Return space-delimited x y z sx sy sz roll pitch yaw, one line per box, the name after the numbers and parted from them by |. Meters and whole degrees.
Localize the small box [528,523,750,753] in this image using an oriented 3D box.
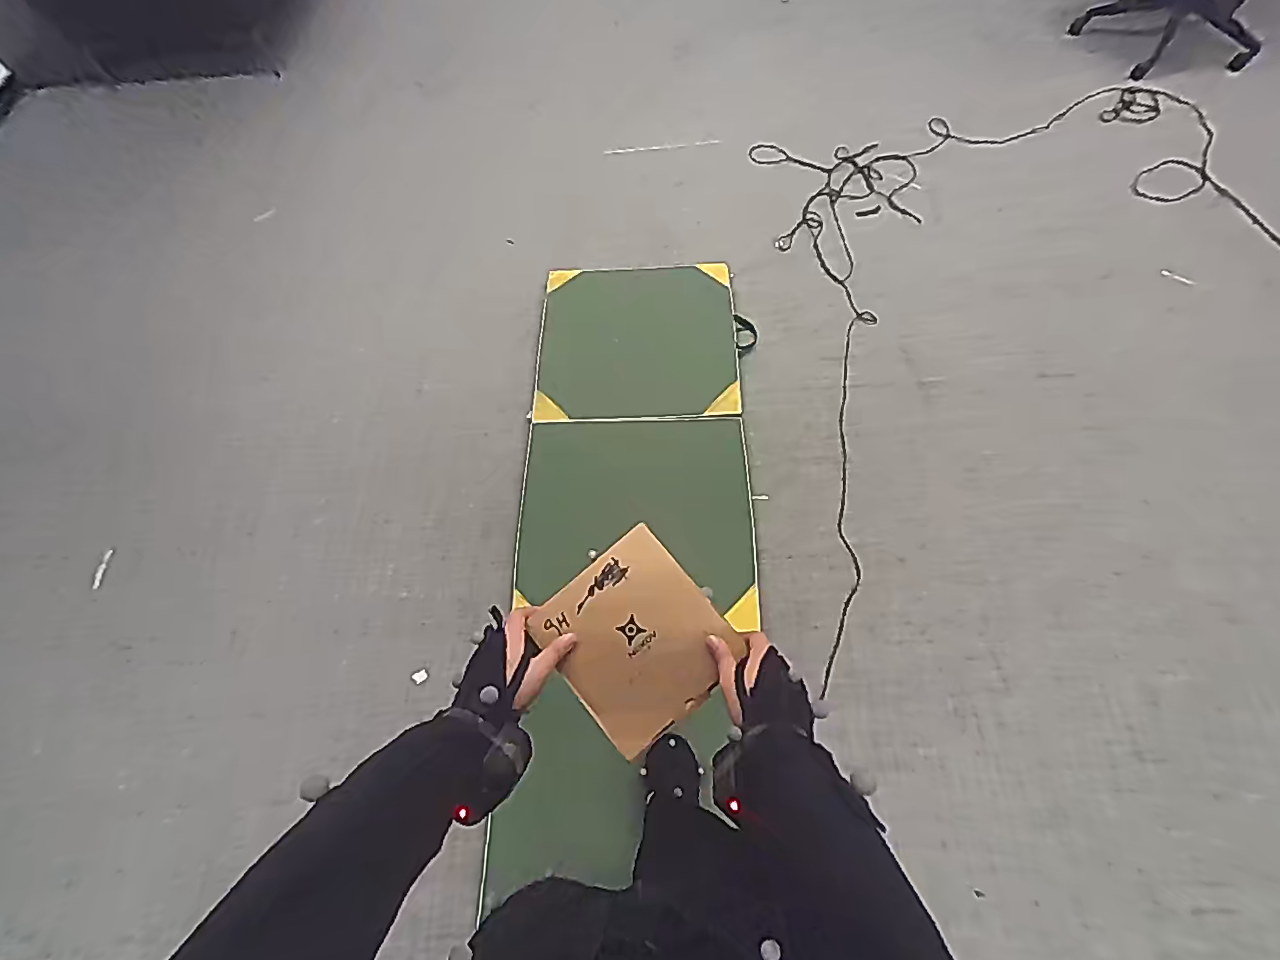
0.002 0.173 0.633 0.168 0.176 0.179 -40 79 -6 | small box
